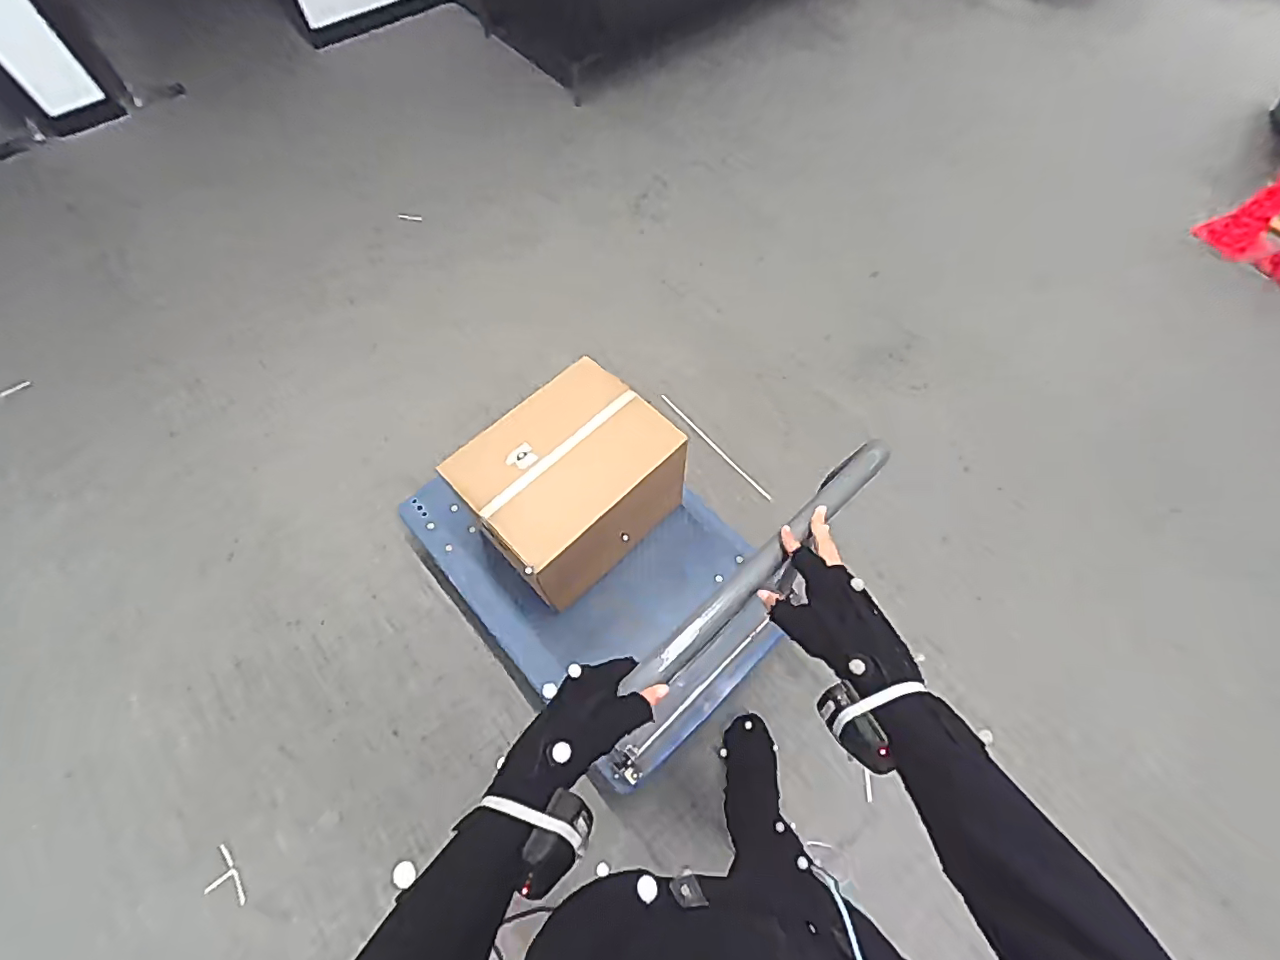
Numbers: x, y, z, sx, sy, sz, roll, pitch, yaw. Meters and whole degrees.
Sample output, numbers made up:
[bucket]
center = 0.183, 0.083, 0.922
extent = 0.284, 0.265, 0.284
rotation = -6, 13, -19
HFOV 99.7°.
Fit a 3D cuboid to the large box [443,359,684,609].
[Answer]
[large box]
center = -0.146, 0.015, 1.219
extent = 0.408, 0.320, 0.320
rotation = -42, 68, -17
